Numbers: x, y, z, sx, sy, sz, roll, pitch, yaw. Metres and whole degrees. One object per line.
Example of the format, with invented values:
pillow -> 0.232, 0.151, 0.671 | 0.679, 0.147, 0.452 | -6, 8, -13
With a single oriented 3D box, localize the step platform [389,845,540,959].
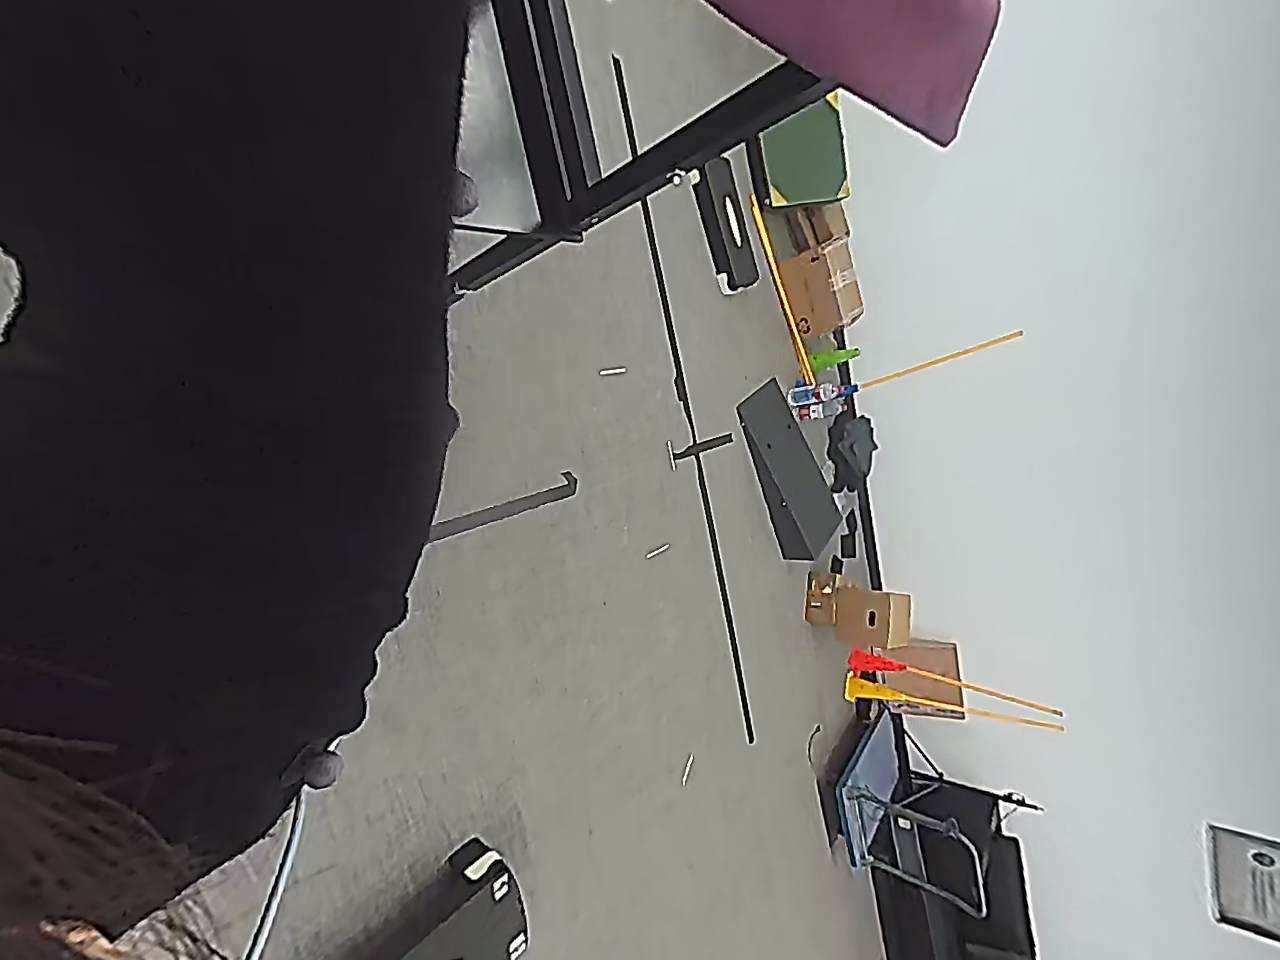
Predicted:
step platform -> -0.582, 1.299, 1.402 | 0.684, 0.204, 0.286 | -12, 95, -48
